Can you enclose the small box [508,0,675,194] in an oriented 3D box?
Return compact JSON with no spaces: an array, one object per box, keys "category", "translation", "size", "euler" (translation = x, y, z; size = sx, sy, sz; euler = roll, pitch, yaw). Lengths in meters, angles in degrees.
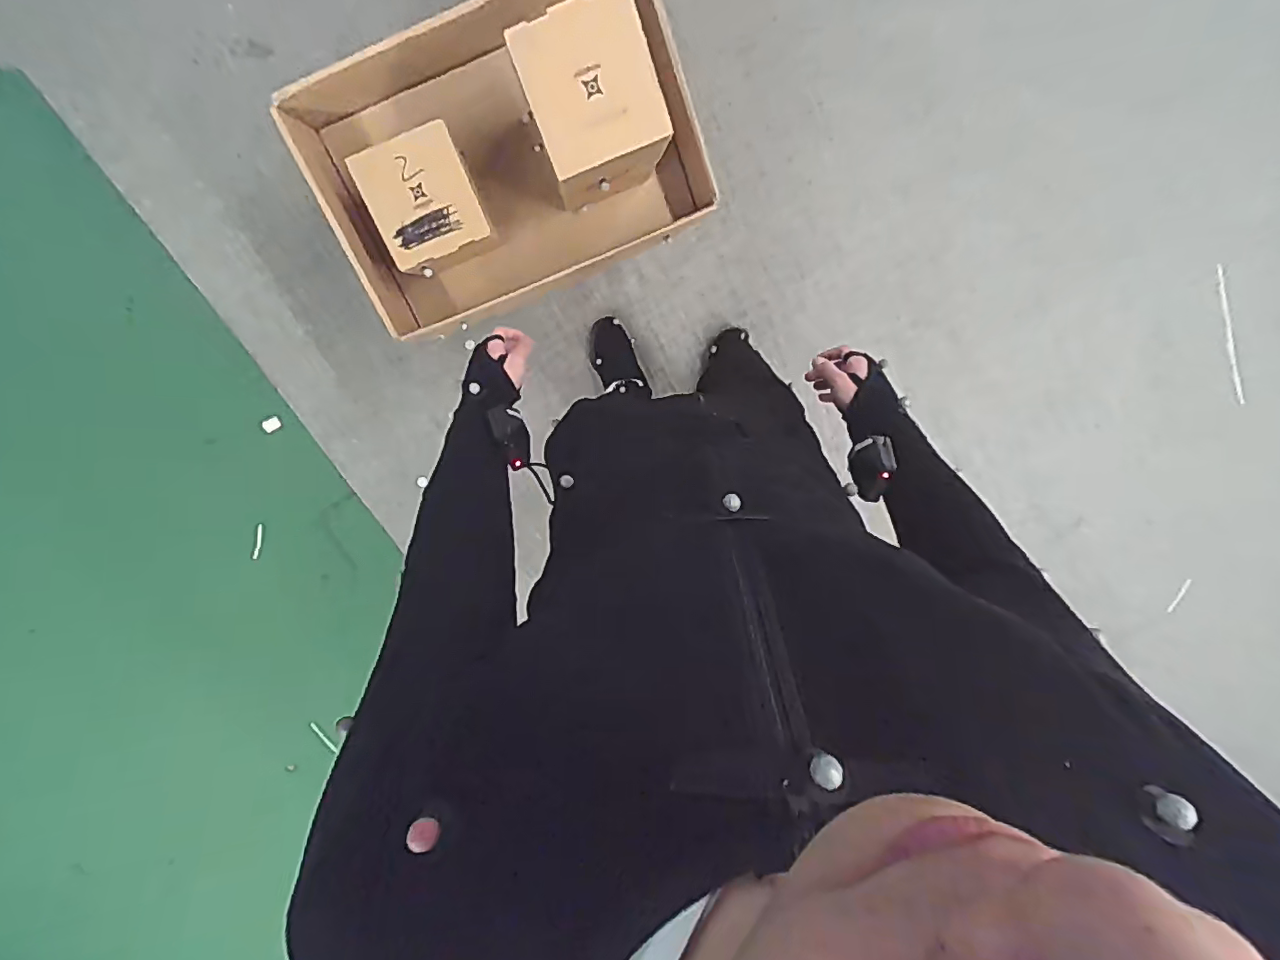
[{"category":"small box","translation":[-0.065,-0.528,0.753],"size":[0.168,0.176,0.179],"euler":[-20,110,3]}]
